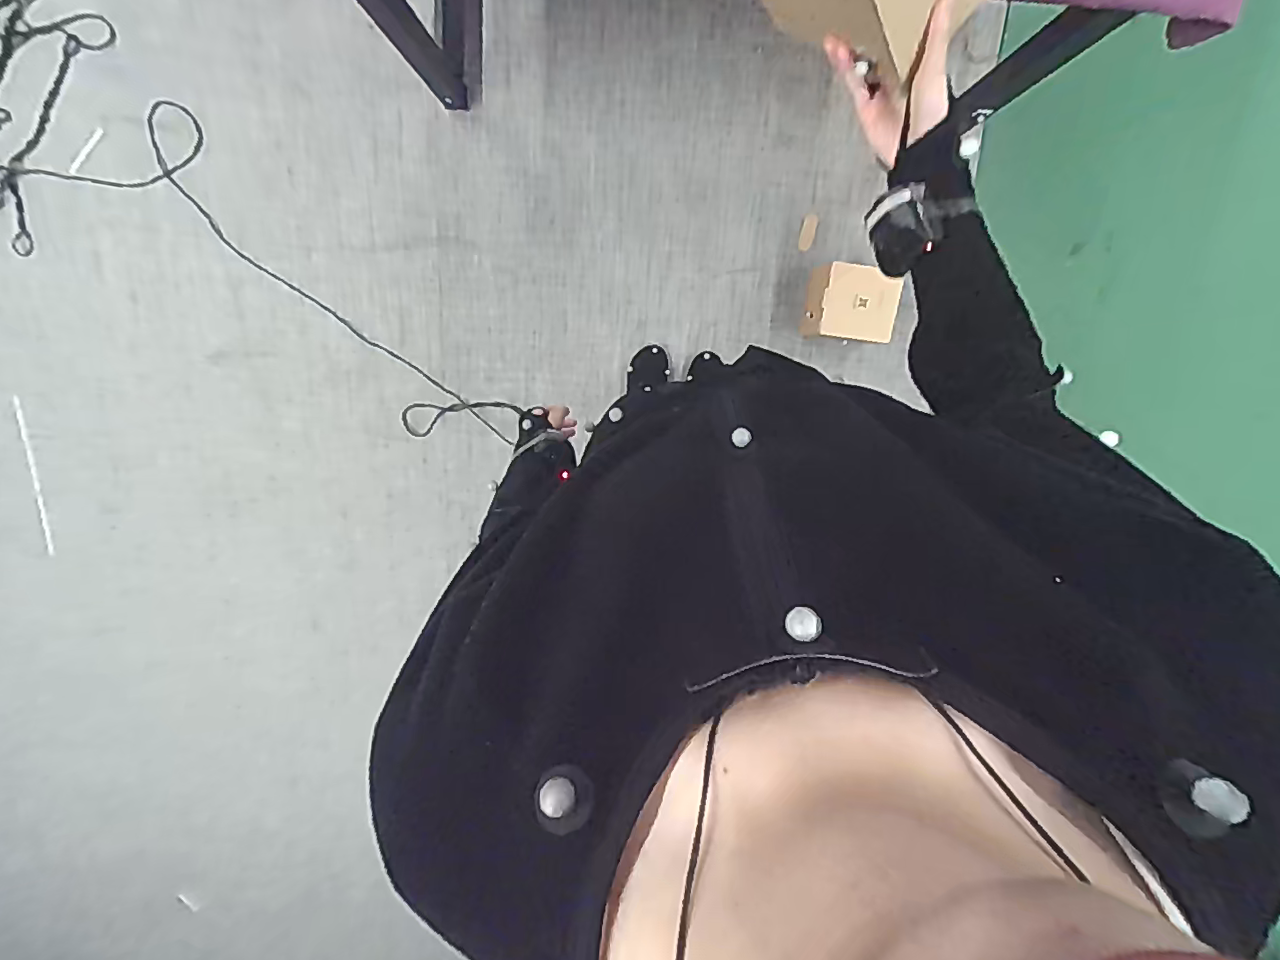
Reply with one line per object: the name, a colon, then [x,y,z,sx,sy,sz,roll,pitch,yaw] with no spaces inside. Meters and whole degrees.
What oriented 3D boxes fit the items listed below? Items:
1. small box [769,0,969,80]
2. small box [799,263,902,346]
small box: [0.175,-0.452,0.394,0.176,0.179,0.168,49,119,22]
small box: [0.509,-0.426,1.337,0.179,0.176,0.168,7,104,-2]
